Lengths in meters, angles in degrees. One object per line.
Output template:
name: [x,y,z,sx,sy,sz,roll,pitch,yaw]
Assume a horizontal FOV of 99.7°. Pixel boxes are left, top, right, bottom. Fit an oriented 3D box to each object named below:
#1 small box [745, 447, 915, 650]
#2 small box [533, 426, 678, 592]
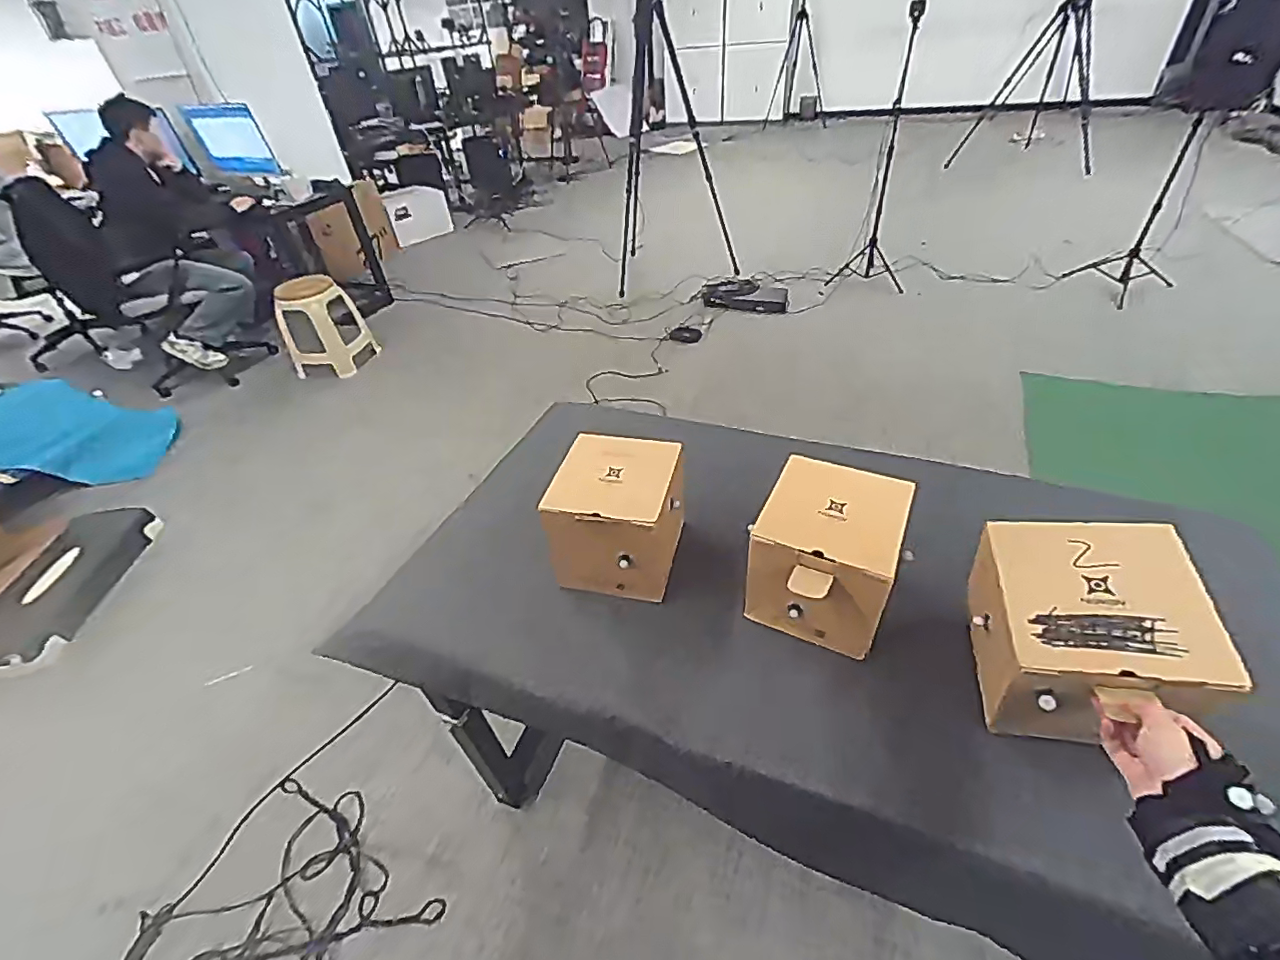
small box: [0.245,0.088,0.720,0.168,0.176,0.179,17,45,23]
small box: [-0.038,0.042,0.805,0.168,0.176,0.179,7,41,13]
